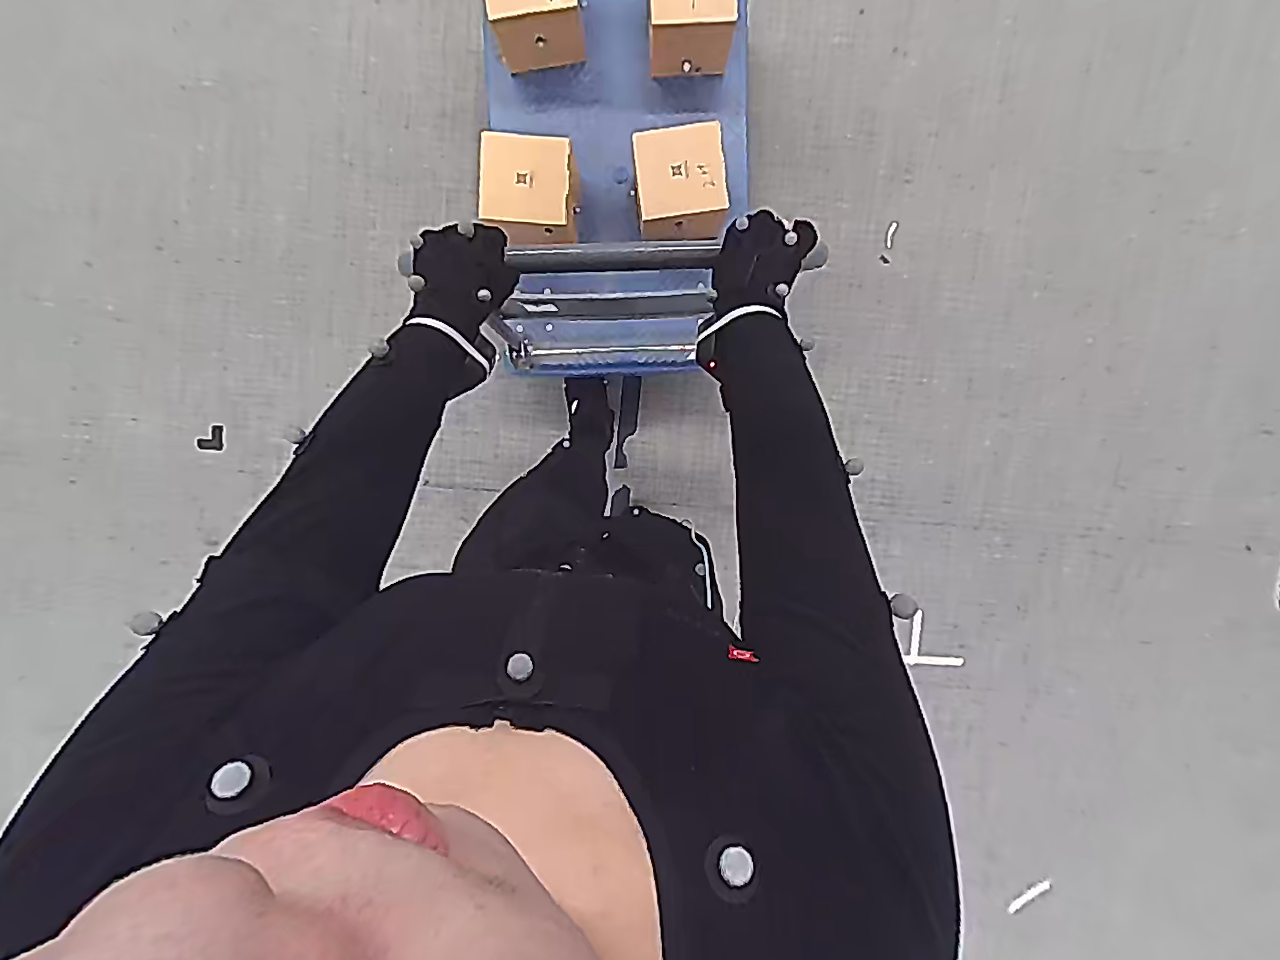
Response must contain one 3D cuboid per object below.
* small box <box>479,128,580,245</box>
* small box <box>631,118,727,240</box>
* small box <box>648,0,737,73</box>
[{"bbox_3d":[-0.228,-0.609,1.143,0.179,0.176,0.168,4,96,-1],"label":"small box"},{"bbox_3d":[0.079,-0.621,1.137,0.179,0.176,0.168,-7,97,2],"label":"small box"},{"bbox_3d":[0.101,-0.970,1.095,0.168,0.176,0.179,-1,98,1],"label":"small box"}]
